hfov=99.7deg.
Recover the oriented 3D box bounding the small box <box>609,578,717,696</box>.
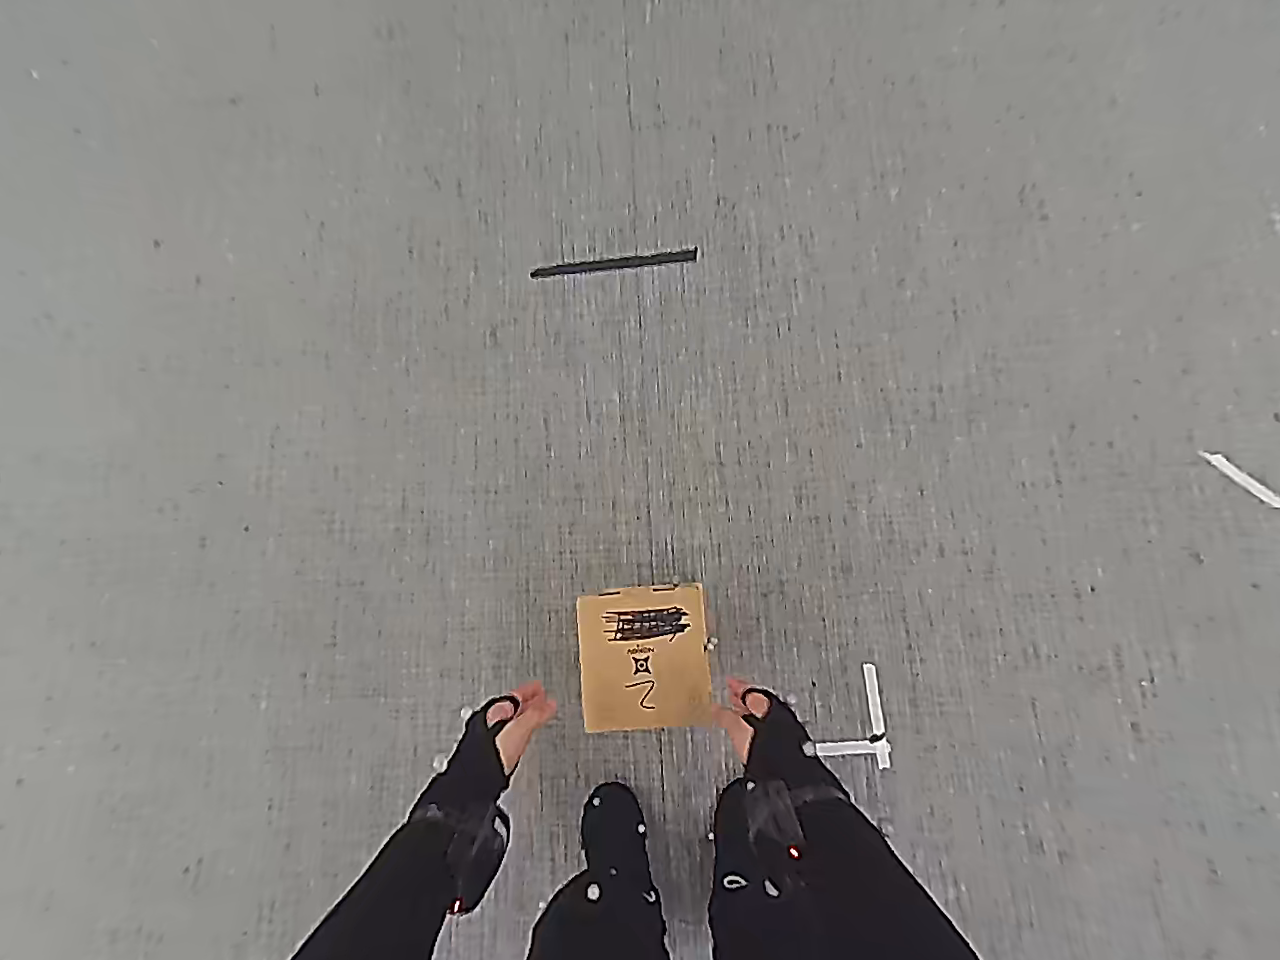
[{"bbox_3d":[0.039,0.265,0.939,0.168,0.176,0.179,-5,79,4],"label":"small box"}]
